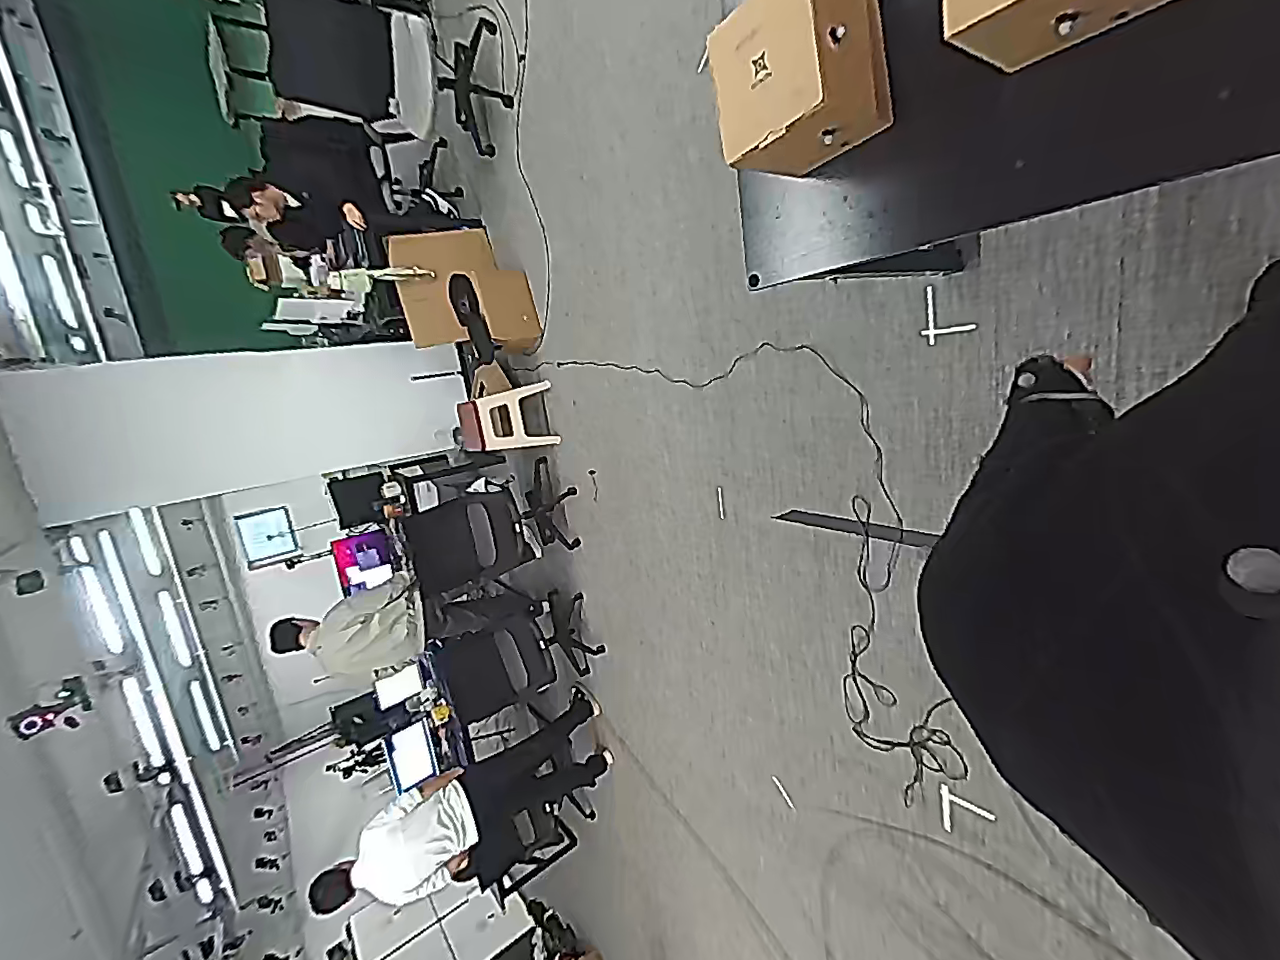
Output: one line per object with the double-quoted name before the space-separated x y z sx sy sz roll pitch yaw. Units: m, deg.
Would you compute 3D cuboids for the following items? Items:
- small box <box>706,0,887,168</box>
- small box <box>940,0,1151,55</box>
"small box" 0.218 -0.556 0.746 0.168 0.176 0.179 -1 101 53
"small box" 0.400 -0.533 0.498 0.168 0.176 0.179 9 110 52
